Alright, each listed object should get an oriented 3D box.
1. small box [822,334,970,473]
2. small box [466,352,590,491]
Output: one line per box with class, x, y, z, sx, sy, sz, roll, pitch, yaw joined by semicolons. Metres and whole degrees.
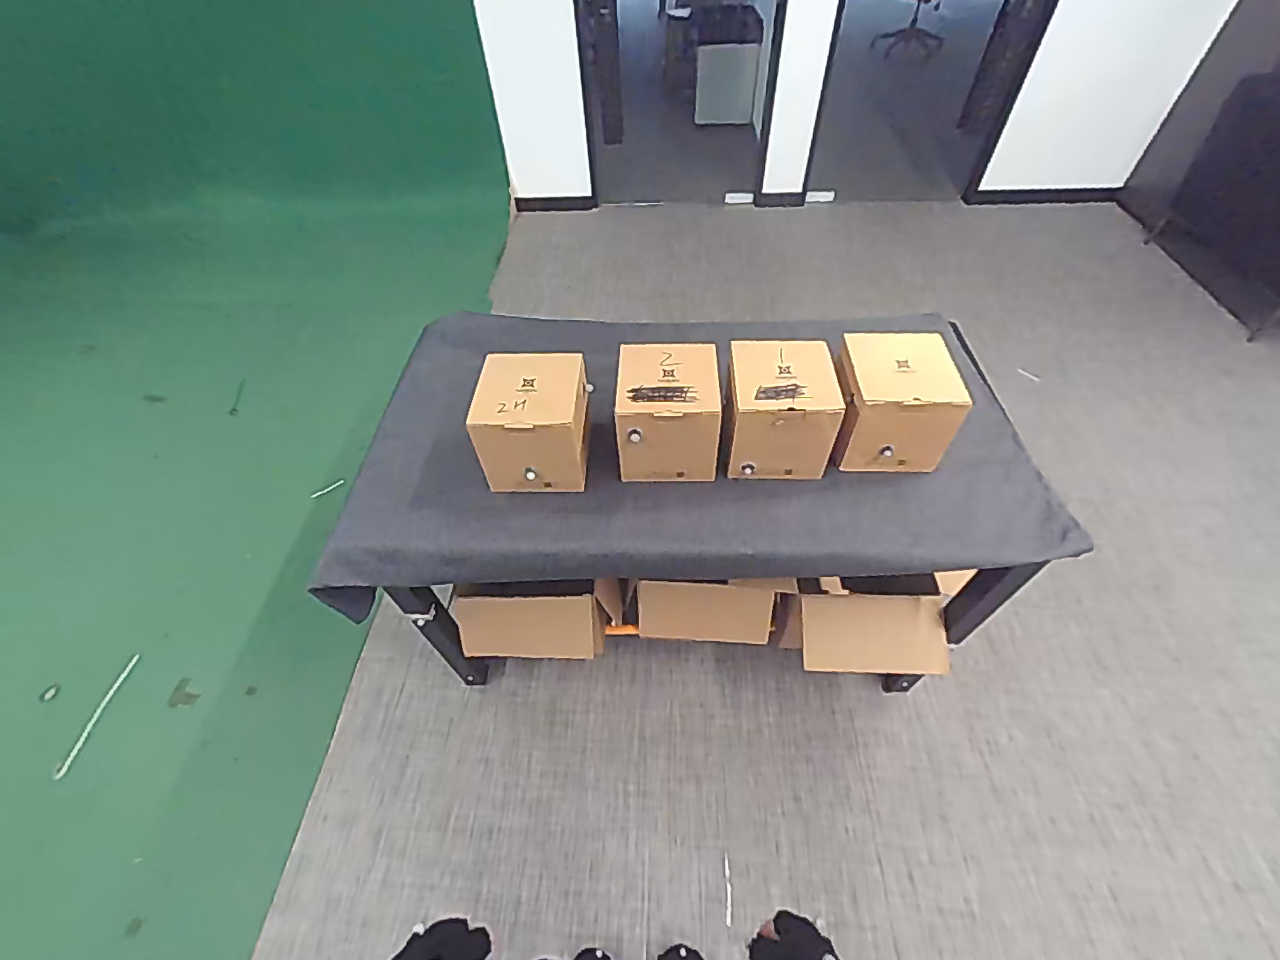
small box;0.429;-0.134;0.944;0.168;0.176;0.179;1;52;3
small box;-0.180;-0.100;0.932;0.168;0.176;0.179;0;51;2
